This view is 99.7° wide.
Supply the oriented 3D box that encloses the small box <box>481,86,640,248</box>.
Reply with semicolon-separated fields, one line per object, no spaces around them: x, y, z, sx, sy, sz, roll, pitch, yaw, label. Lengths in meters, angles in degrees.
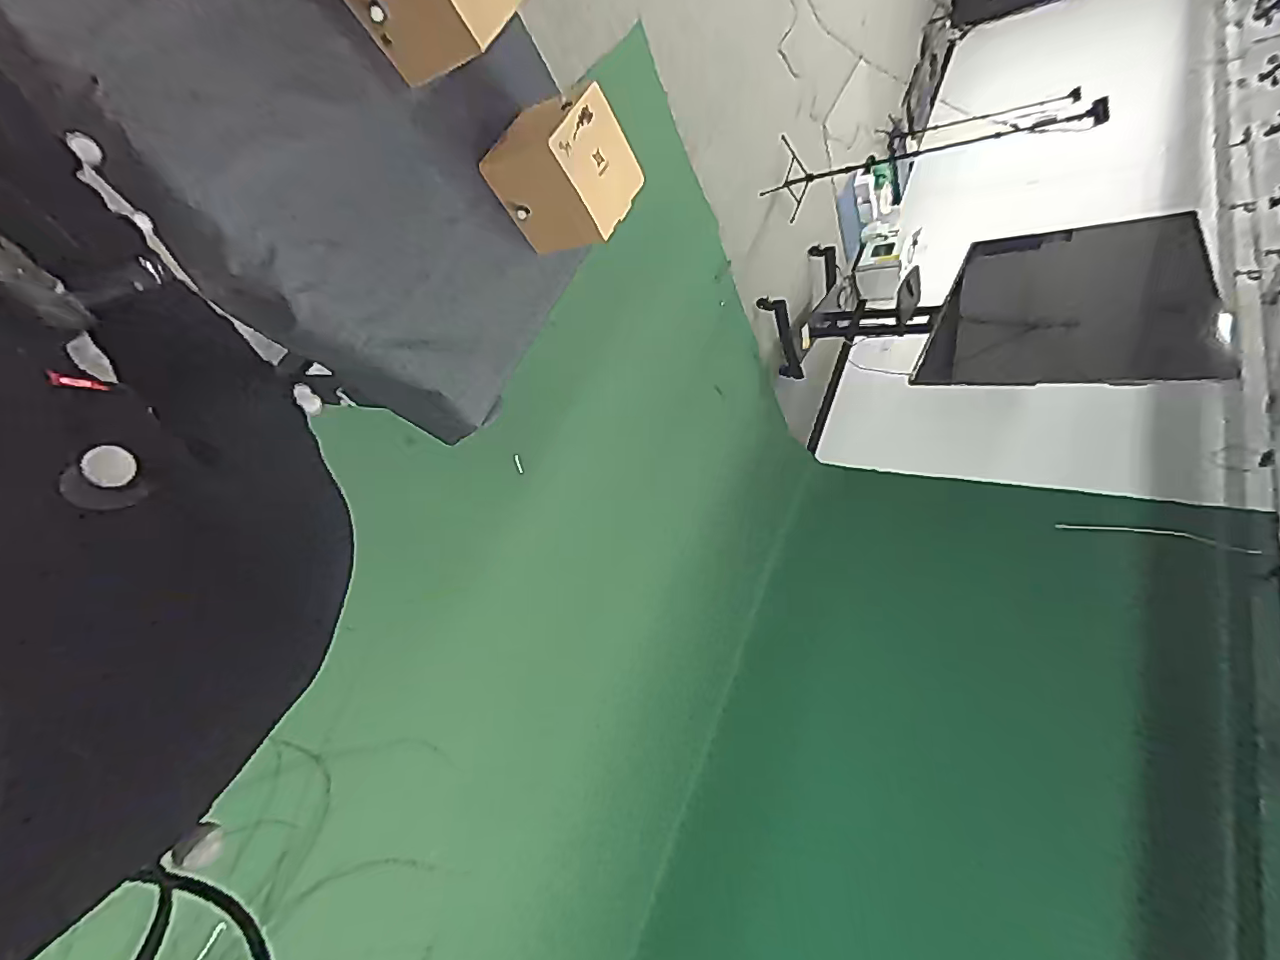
-0.133;-0.523;0.930;0.179;0.176;0.168;50;57;-46;small box
